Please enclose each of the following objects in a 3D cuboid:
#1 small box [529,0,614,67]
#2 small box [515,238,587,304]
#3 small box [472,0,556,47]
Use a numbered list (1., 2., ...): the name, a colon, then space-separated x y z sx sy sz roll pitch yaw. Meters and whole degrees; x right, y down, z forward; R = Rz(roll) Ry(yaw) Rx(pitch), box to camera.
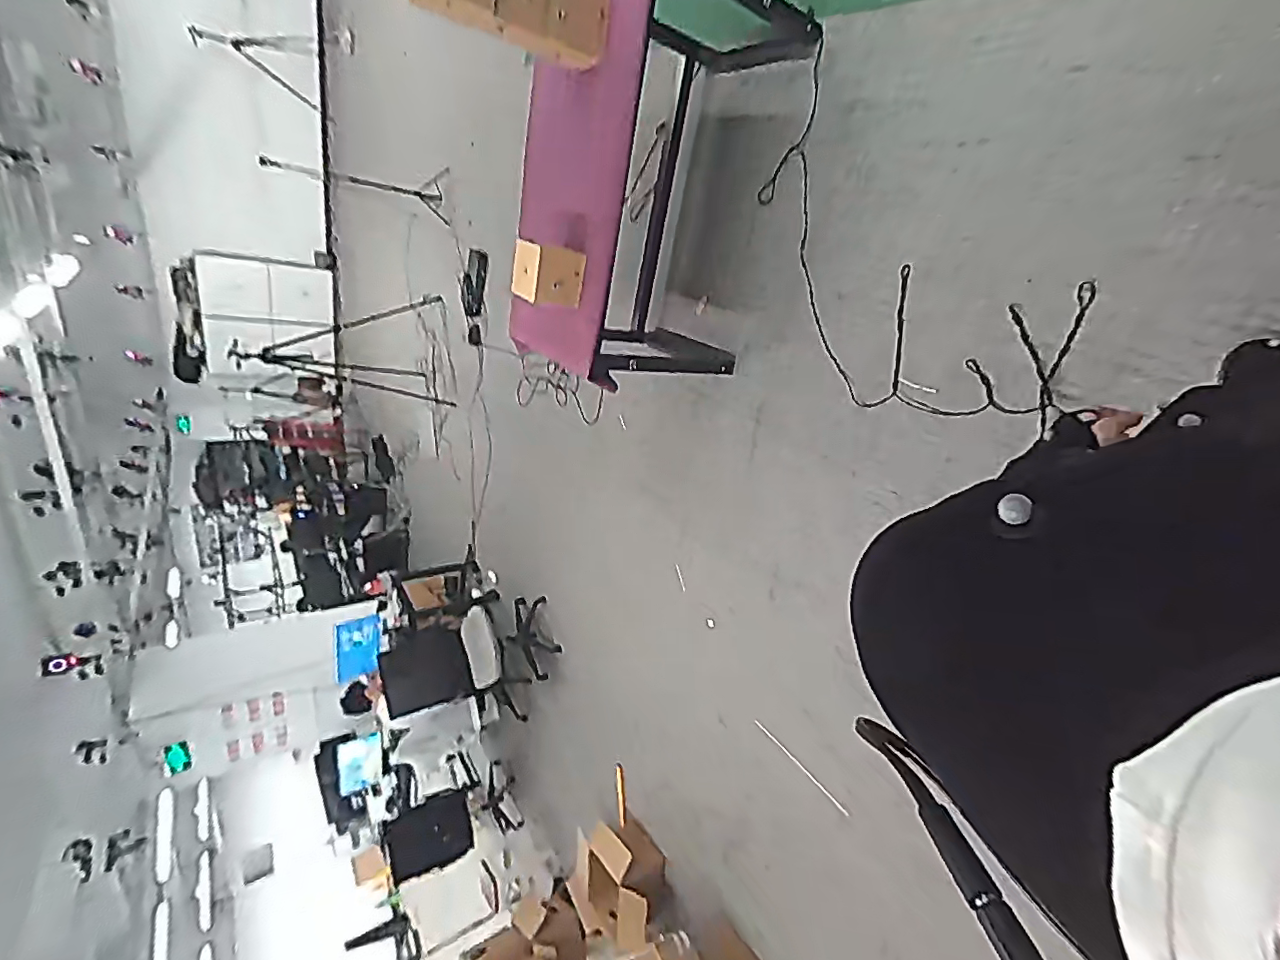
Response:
1. small box: -0.196 -1.298 1.526 0.179 0.176 0.168 37 125 46
2. small box: -0.288 -0.673 1.752 0.179 0.176 0.168 39 125 44
3. small box: -0.330 -1.283 1.430 0.179 0.176 0.168 39 125 45
